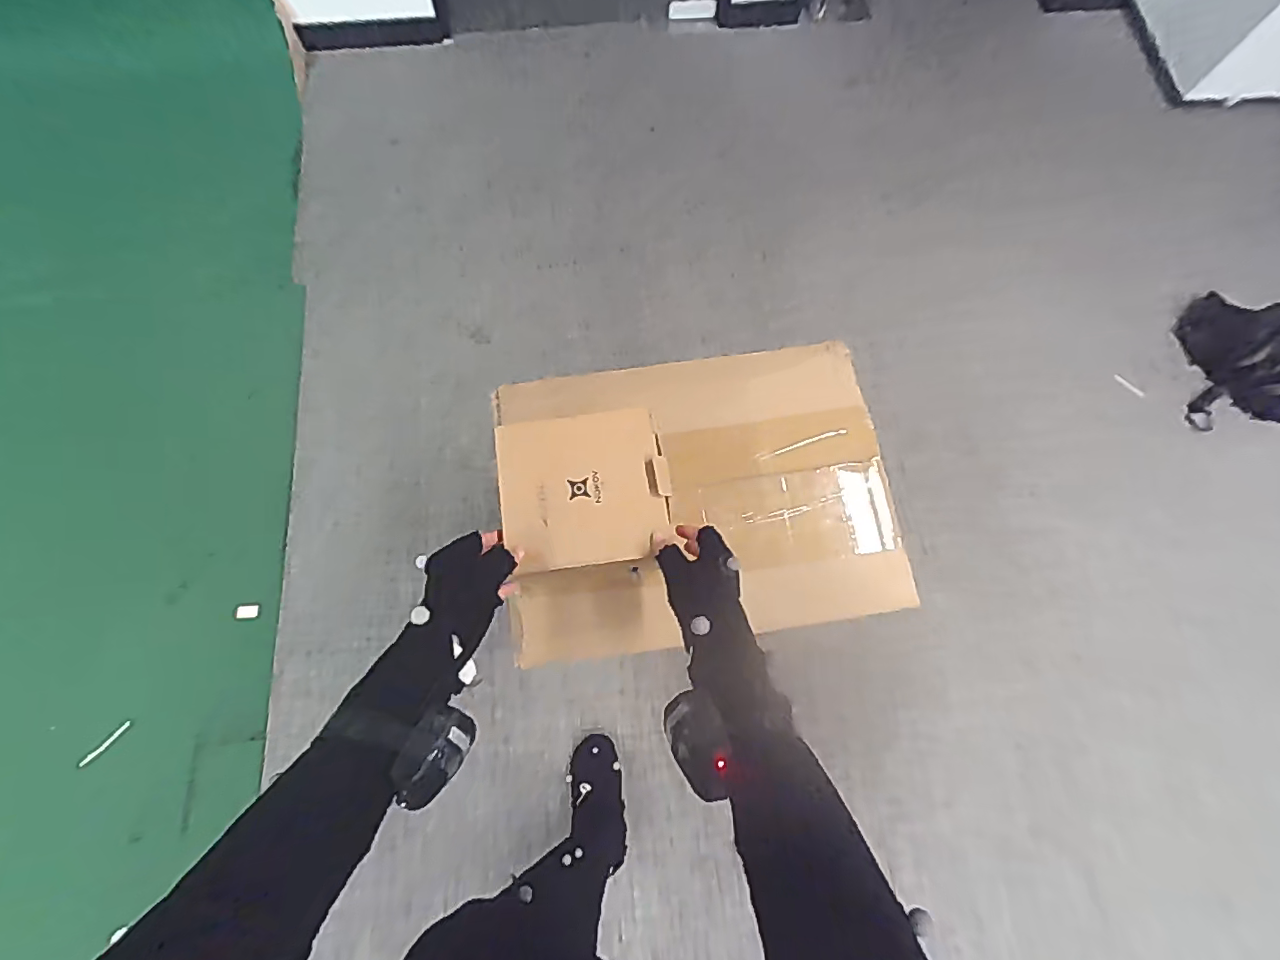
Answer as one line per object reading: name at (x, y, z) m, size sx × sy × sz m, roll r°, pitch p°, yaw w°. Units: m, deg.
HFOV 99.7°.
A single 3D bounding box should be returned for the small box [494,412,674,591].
small box at (-0.063, 0.035, 0.652) m, size 0.179 × 0.176 × 0.168 m, roll -9°, pitch 74°, yaw -2°
